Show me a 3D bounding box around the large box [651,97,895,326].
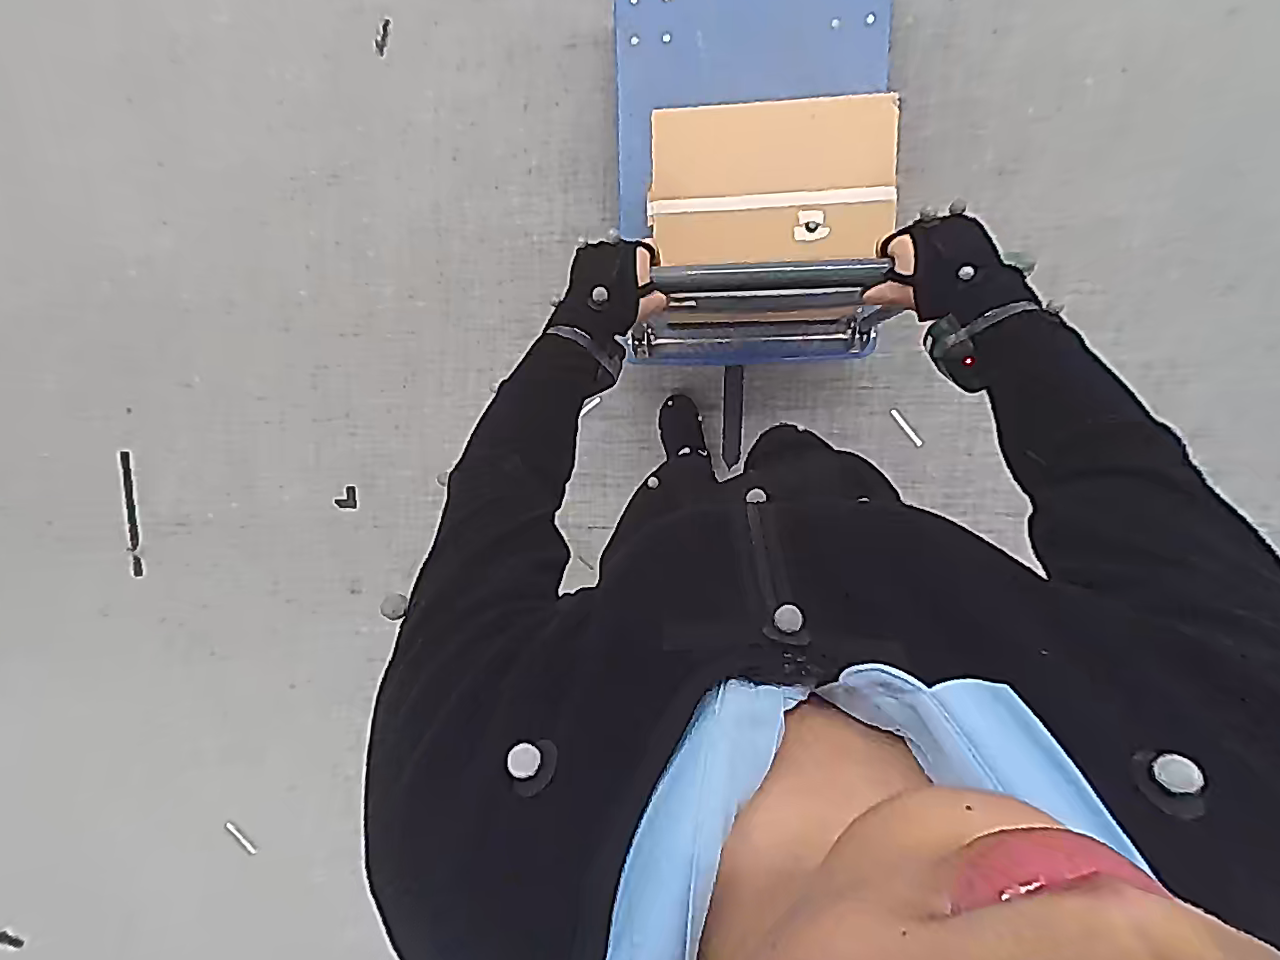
[{"bbox_3d":[0.233,-0.487,1.062,0.408,0.320,0.320,0,99,5],"label":"large box"}]
